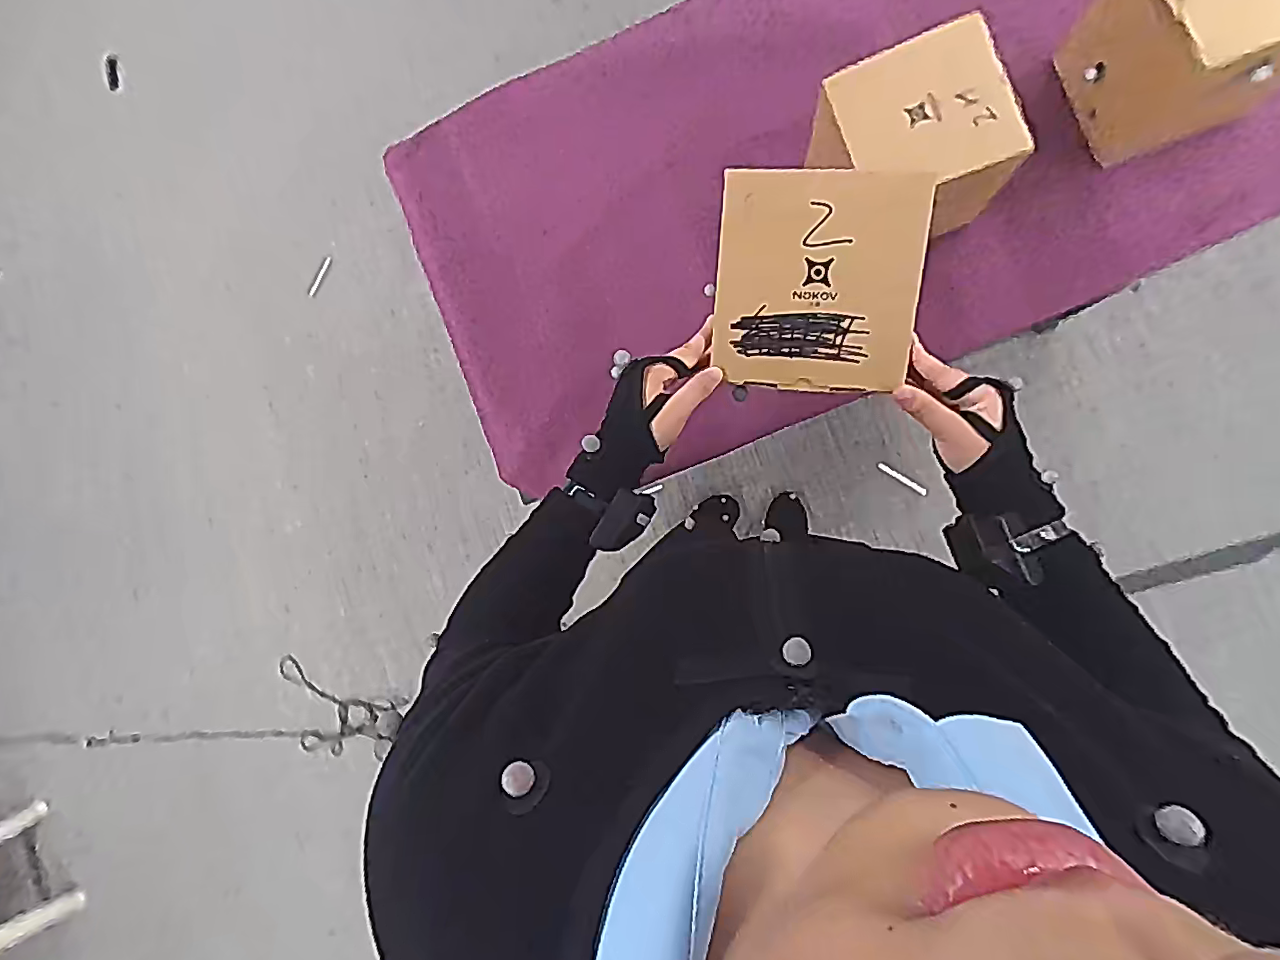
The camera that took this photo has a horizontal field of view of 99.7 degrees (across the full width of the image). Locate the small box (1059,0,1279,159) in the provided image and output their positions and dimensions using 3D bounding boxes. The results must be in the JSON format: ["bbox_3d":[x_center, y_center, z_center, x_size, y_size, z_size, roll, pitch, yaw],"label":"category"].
[{"bbox_3d":[0.635,-0.513,0.612,0.179,0.176,0.168,-18,85,10],"label":"small box"}]

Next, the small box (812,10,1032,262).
[{"bbox_3d":[0.323,-0.400,0.665,0.179,0.176,0.168,-18,86,9],"label":"small box"}]
